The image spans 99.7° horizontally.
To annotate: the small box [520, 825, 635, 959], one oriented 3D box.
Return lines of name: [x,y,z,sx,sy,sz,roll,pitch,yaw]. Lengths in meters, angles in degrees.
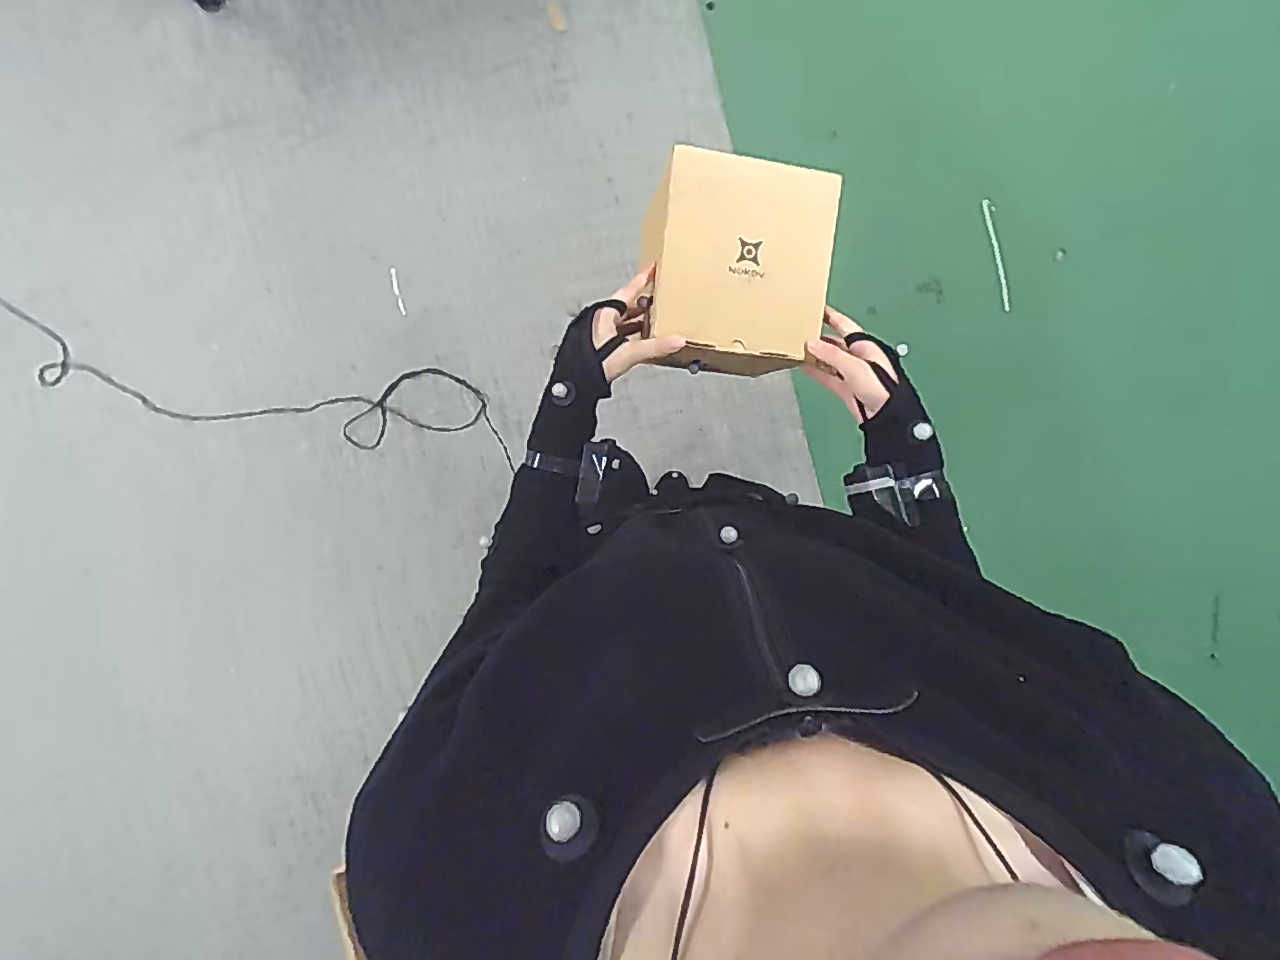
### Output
small box: [-0.106,0.795,1.007,0.168,0.176,0.179,-16,90,-1]
